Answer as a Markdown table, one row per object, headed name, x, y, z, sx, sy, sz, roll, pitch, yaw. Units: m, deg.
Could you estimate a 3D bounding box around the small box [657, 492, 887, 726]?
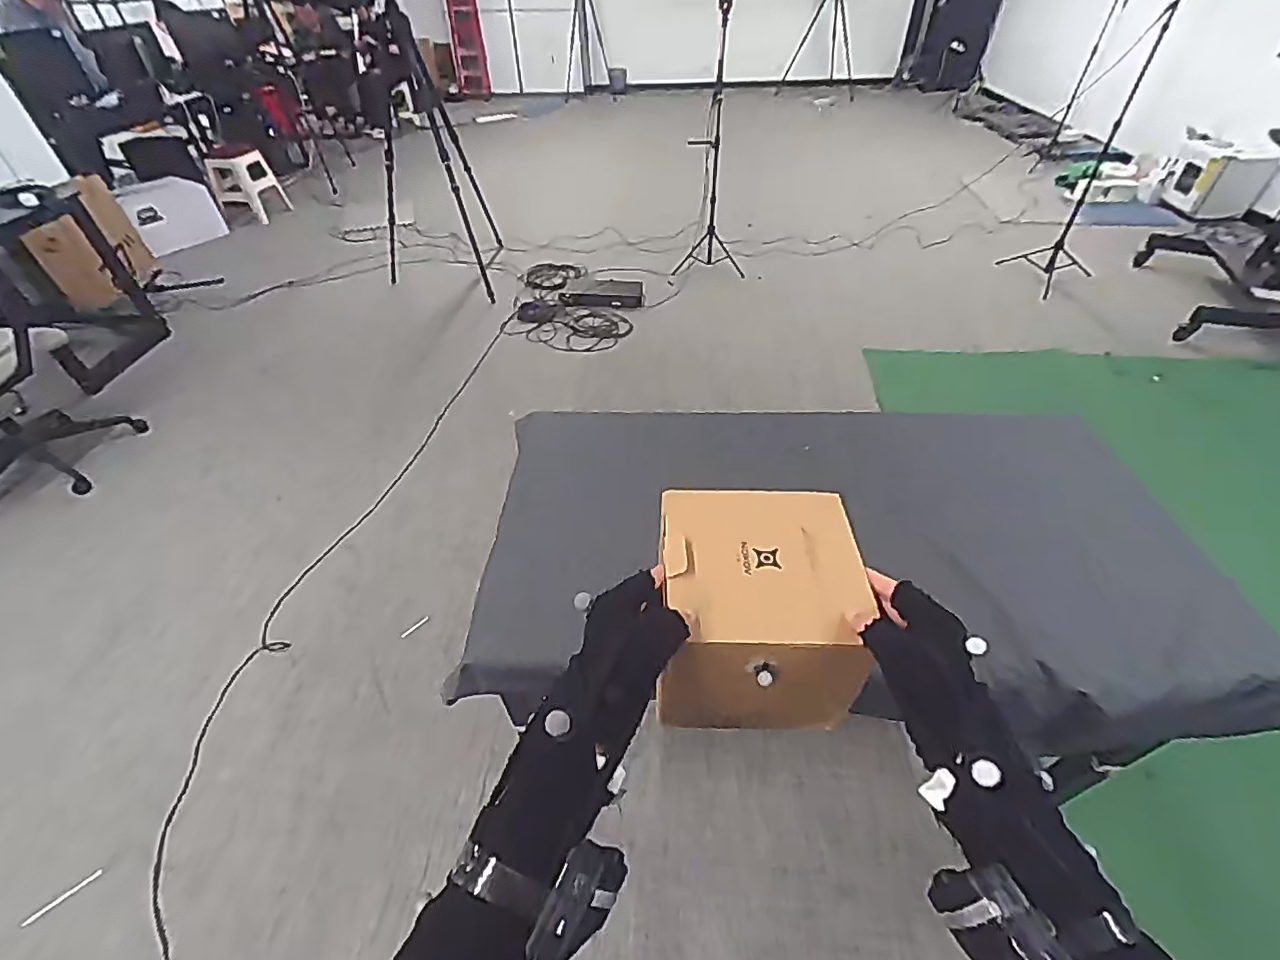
| name | x | y | z | sx | sy | sz | roll | pitch | yaw |
| --- | --- | --- | --- | --- | --- | --- | --- | --- | --- |
| small box | 0.106 | 0.129 | 0.533 | 0.179 | 0.176 | 0.168 | 2 | 45 | -2 |
